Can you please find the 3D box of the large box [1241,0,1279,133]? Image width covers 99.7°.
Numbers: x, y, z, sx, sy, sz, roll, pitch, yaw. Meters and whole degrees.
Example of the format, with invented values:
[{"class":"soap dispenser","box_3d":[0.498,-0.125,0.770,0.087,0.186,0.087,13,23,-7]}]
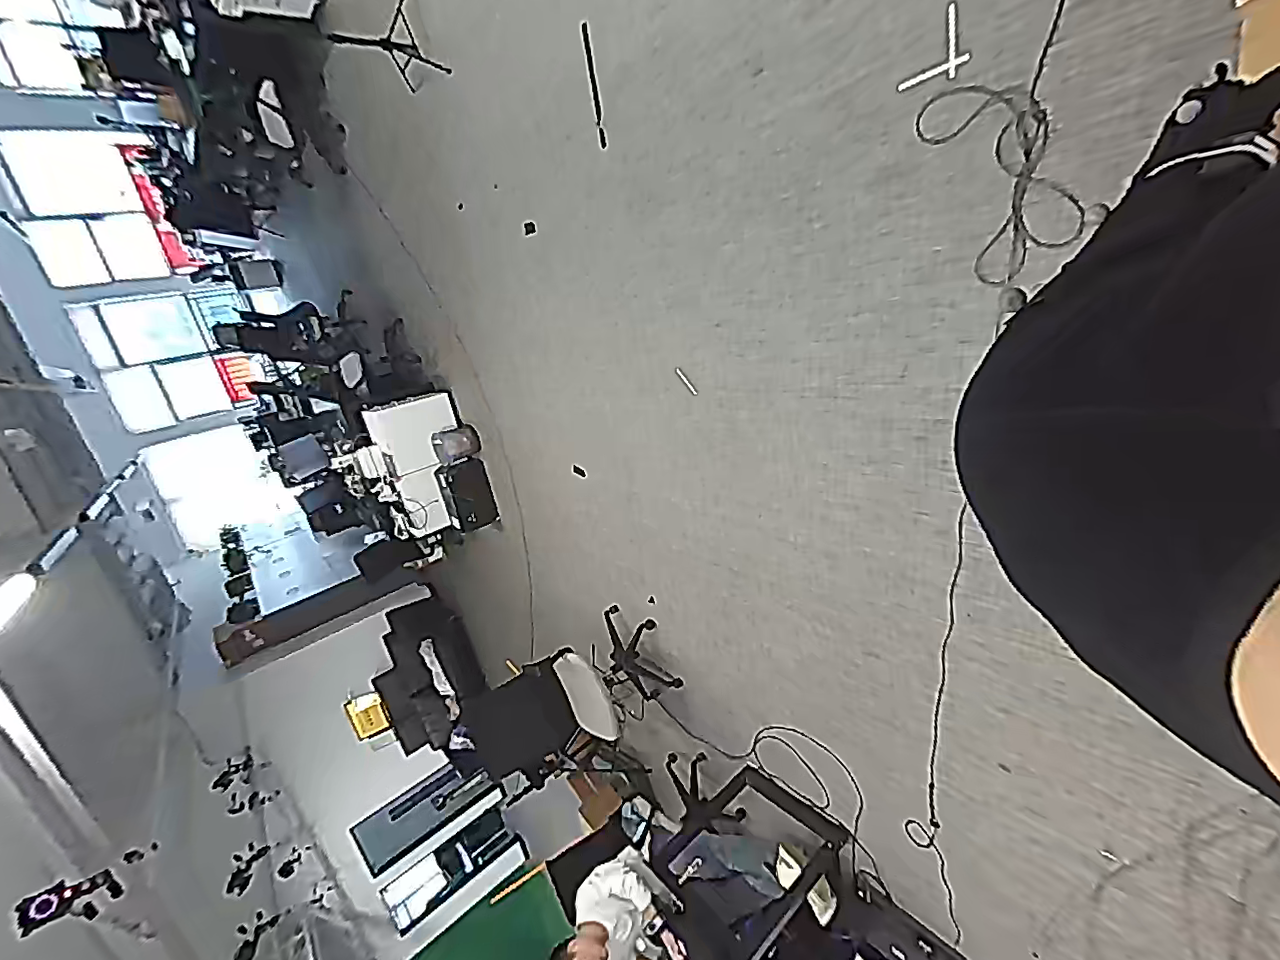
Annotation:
[{"class":"large box","box_3d":[1.031,-0.670,0.640,0.408,0.320,0.320,8,115,50]}]
